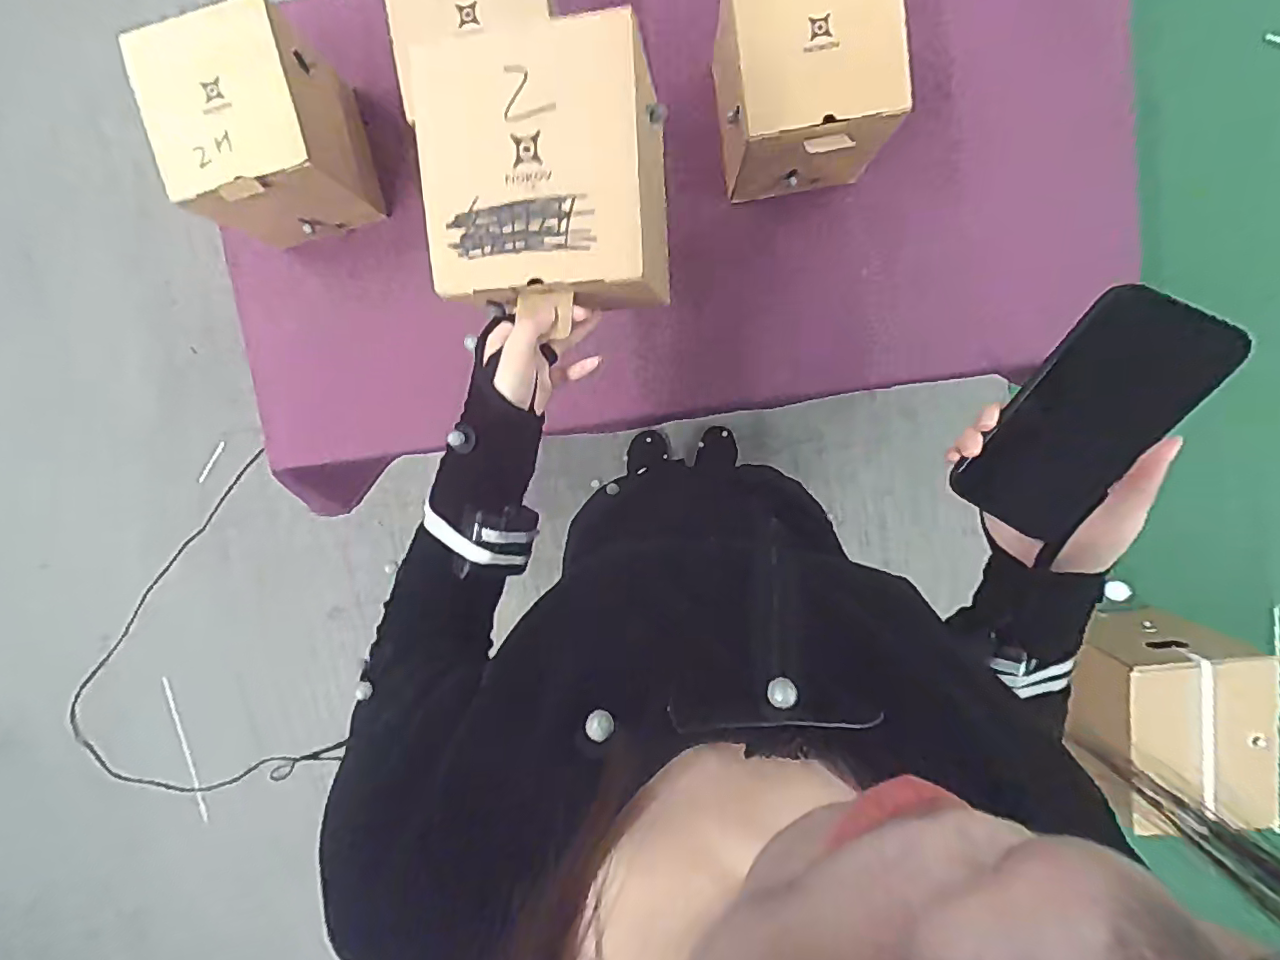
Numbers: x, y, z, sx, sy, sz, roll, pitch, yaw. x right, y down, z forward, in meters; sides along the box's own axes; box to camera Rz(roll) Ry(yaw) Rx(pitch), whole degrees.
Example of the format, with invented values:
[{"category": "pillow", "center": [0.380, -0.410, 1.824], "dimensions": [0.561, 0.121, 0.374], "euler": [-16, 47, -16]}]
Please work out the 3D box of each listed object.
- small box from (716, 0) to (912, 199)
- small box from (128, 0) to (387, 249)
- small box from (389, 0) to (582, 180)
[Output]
[{"category": "small box", "center": [0.184, -0.453, 0.615], "dimensions": [0.168, 0.176, 0.179], "euler": [-8, 97, 5]}, {"category": "small box", "center": [-0.441, -0.409, 0.654], "dimensions": [0.168, 0.176, 0.179], "euler": [-13, 96, 5]}, {"category": "small box", "center": [-0.168, -0.476, 0.632], "dimensions": [0.168, 0.176, 0.179], "euler": [-7, 96, 3]}]
